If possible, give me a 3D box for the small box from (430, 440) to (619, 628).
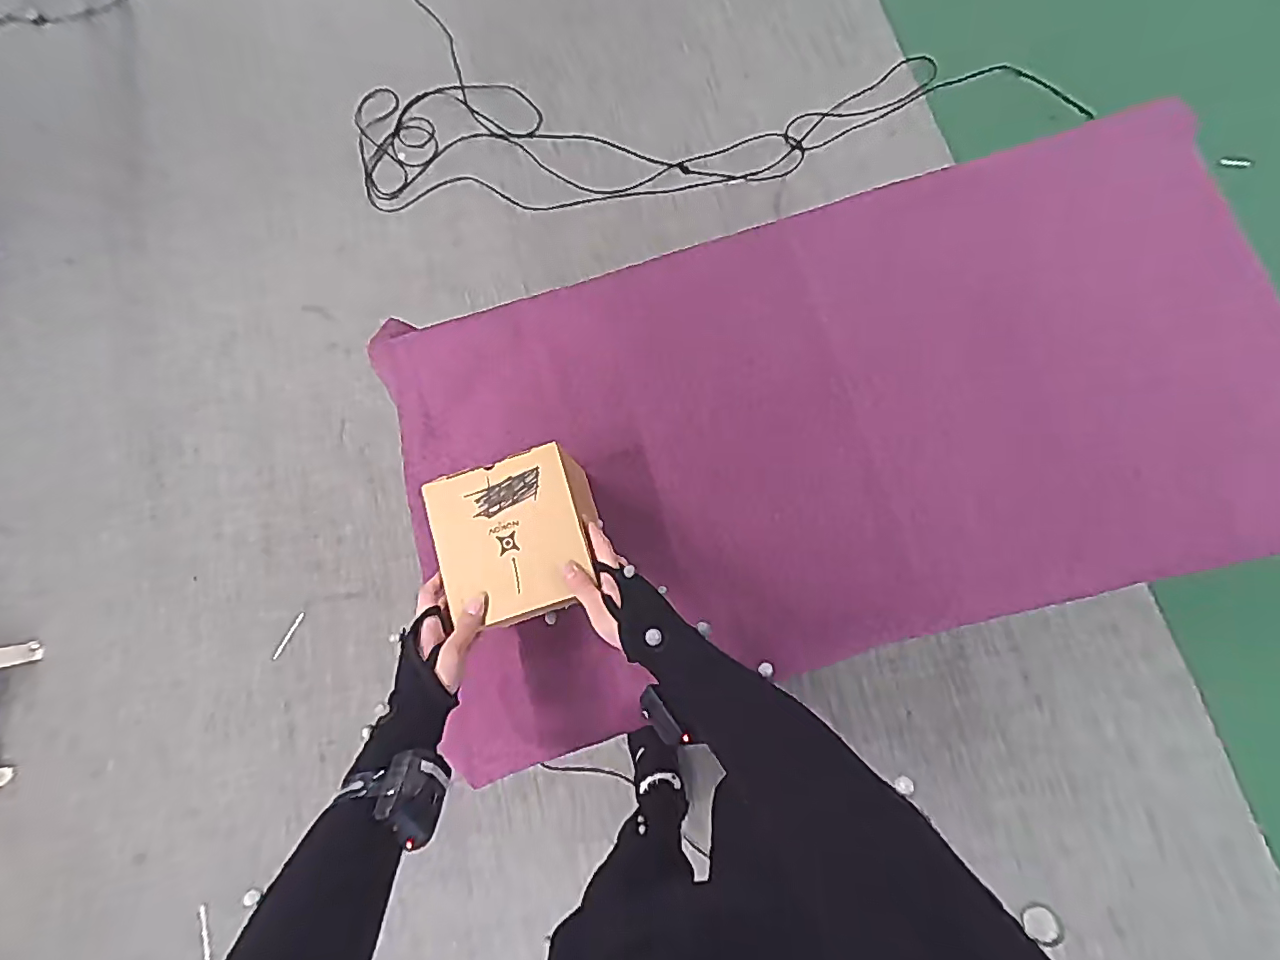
[{"bbox_3d":[-0.133,0.073,0.673,0.168,0.176,0.179,-18,78,1],"label":"small box"}]
